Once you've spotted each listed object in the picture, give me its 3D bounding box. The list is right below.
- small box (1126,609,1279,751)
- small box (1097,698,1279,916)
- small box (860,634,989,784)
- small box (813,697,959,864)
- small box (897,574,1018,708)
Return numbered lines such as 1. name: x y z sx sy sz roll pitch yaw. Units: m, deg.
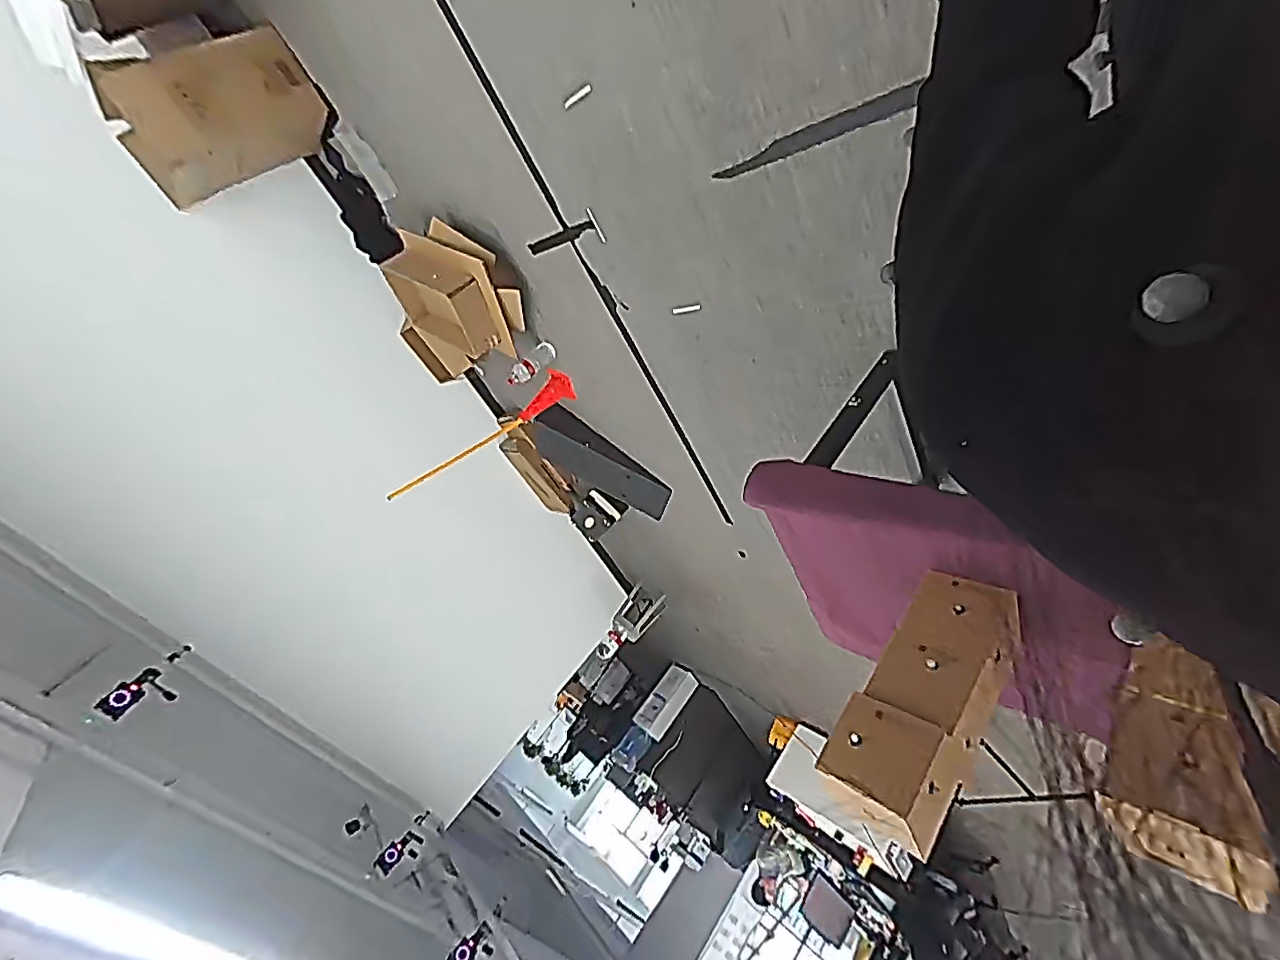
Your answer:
1. small box: 0.862 0.326 0.822 0.168 0.176 0.179 11 142 48
2. small box: 0.766 0.441 0.755 0.168 0.176 0.179 9 139 51
3. small box: 0.555 0.434 1.045 0.168 0.176 0.179 12 141 47
4. small box: 0.444 0.525 0.967 0.168 0.176 0.179 10 140 50
5. small box: 0.656 0.322 1.111 0.168 0.176 0.179 13 142 47
